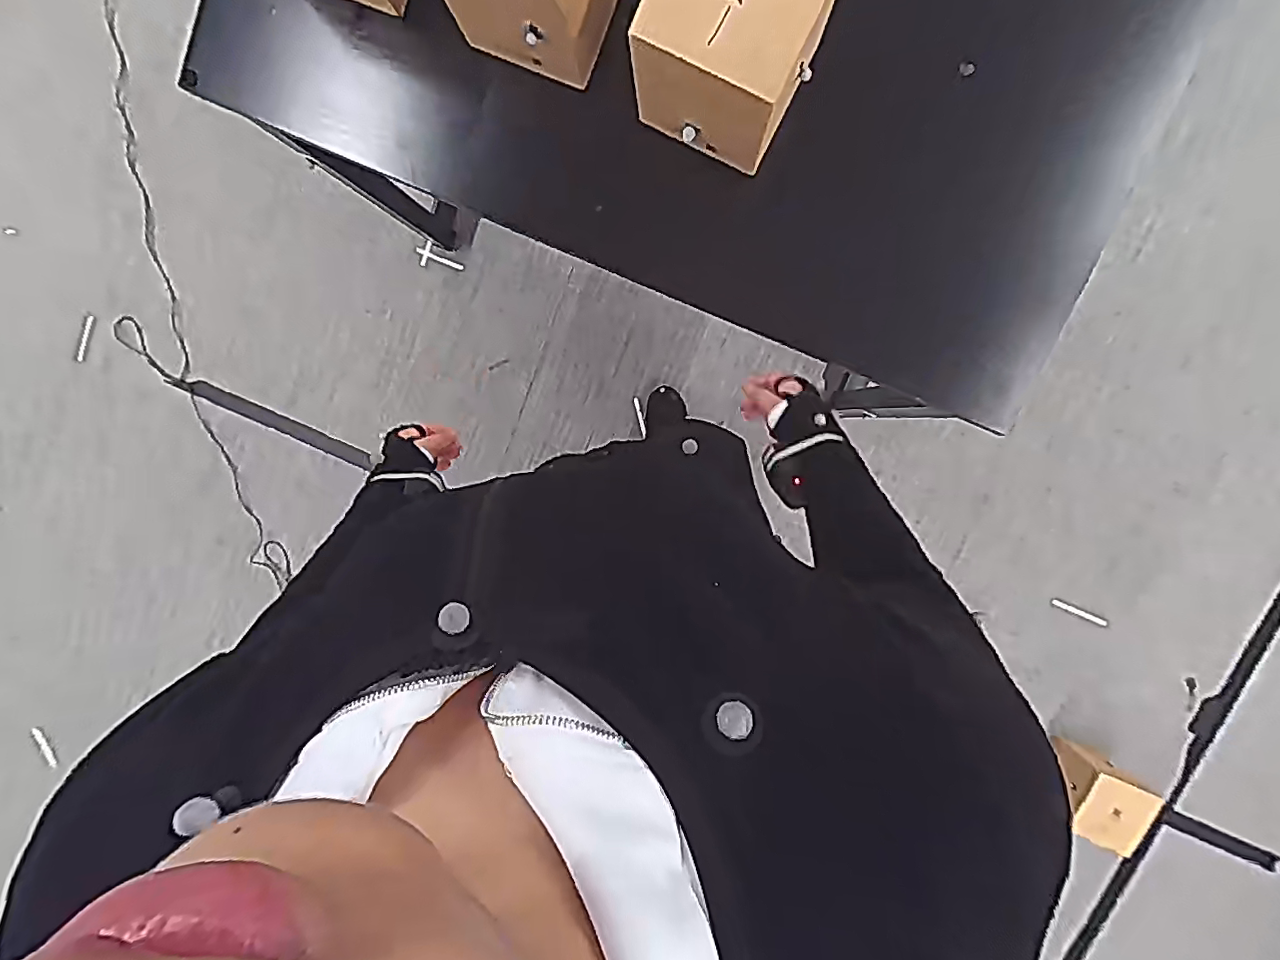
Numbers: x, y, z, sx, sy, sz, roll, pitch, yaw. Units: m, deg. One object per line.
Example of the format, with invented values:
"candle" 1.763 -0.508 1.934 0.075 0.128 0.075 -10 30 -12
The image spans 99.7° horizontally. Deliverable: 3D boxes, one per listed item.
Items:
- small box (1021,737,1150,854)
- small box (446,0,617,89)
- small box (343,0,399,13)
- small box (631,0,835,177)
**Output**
"small box" 1.156 0.817 1.421 0.168 0.176 0.179 23 98 2
"small box" -0.121 -0.599 0.613 0.168 0.176 0.179 22 96 0
"small box" -0.366 -0.693 0.616 0.179 0.176 0.168 21 97 0
"small box" 0.103 -0.489 0.609 0.168 0.176 0.179 27 98 0
